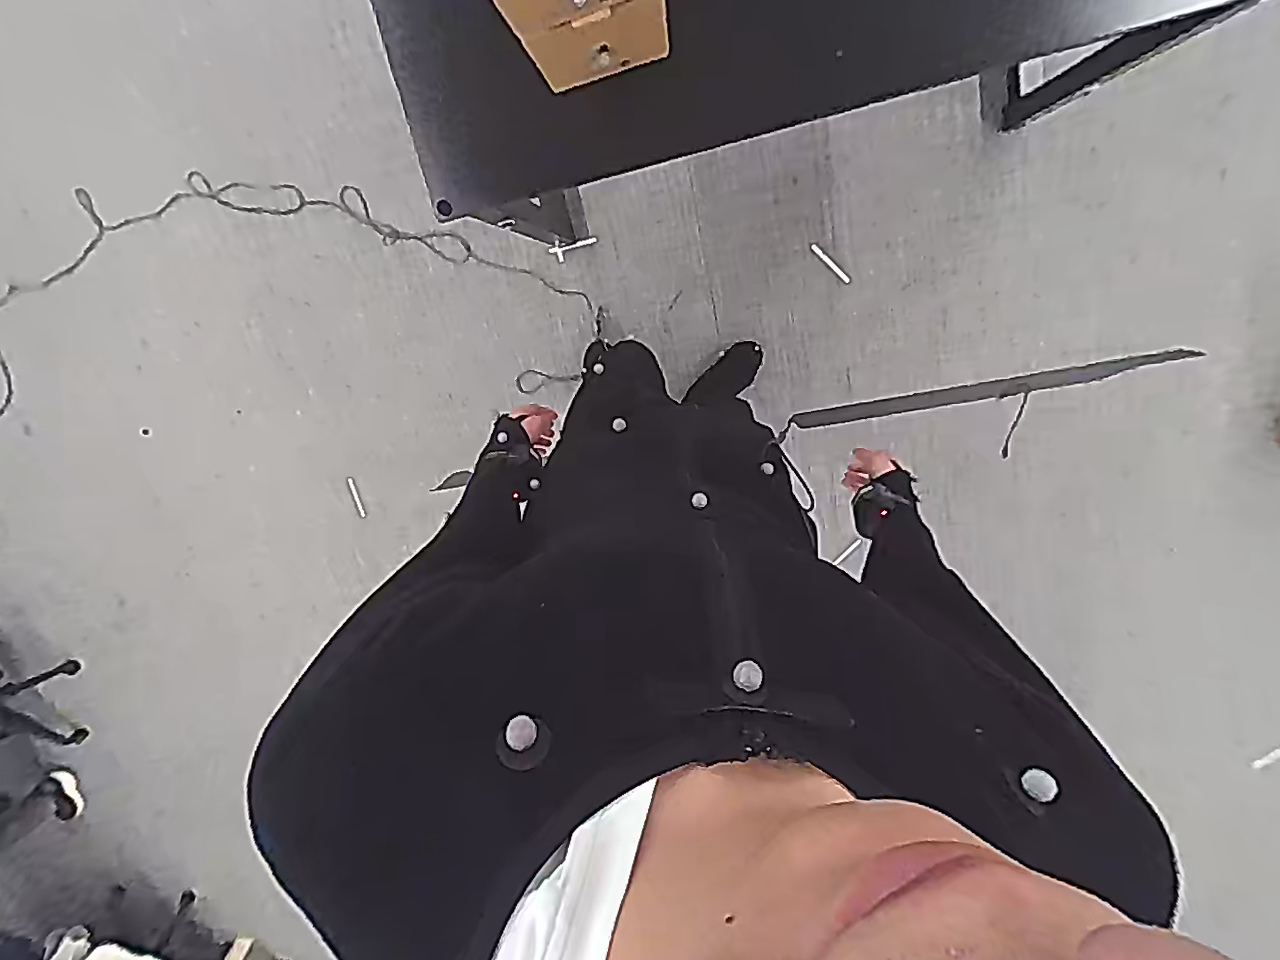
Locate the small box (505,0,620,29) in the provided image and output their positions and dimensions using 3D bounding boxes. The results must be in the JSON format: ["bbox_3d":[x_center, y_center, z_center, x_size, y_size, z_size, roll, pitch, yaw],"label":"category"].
[{"bbox_3d":[-0.081,-0.553,0.471,0.168,0.176,0.179,-11,107,10],"label":"small box"}]

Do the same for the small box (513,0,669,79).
[{"bbox_3d":[-0.065,-0.603,0.627,0.168,0.176,0.179,-12,107,9],"label":"small box"}]
